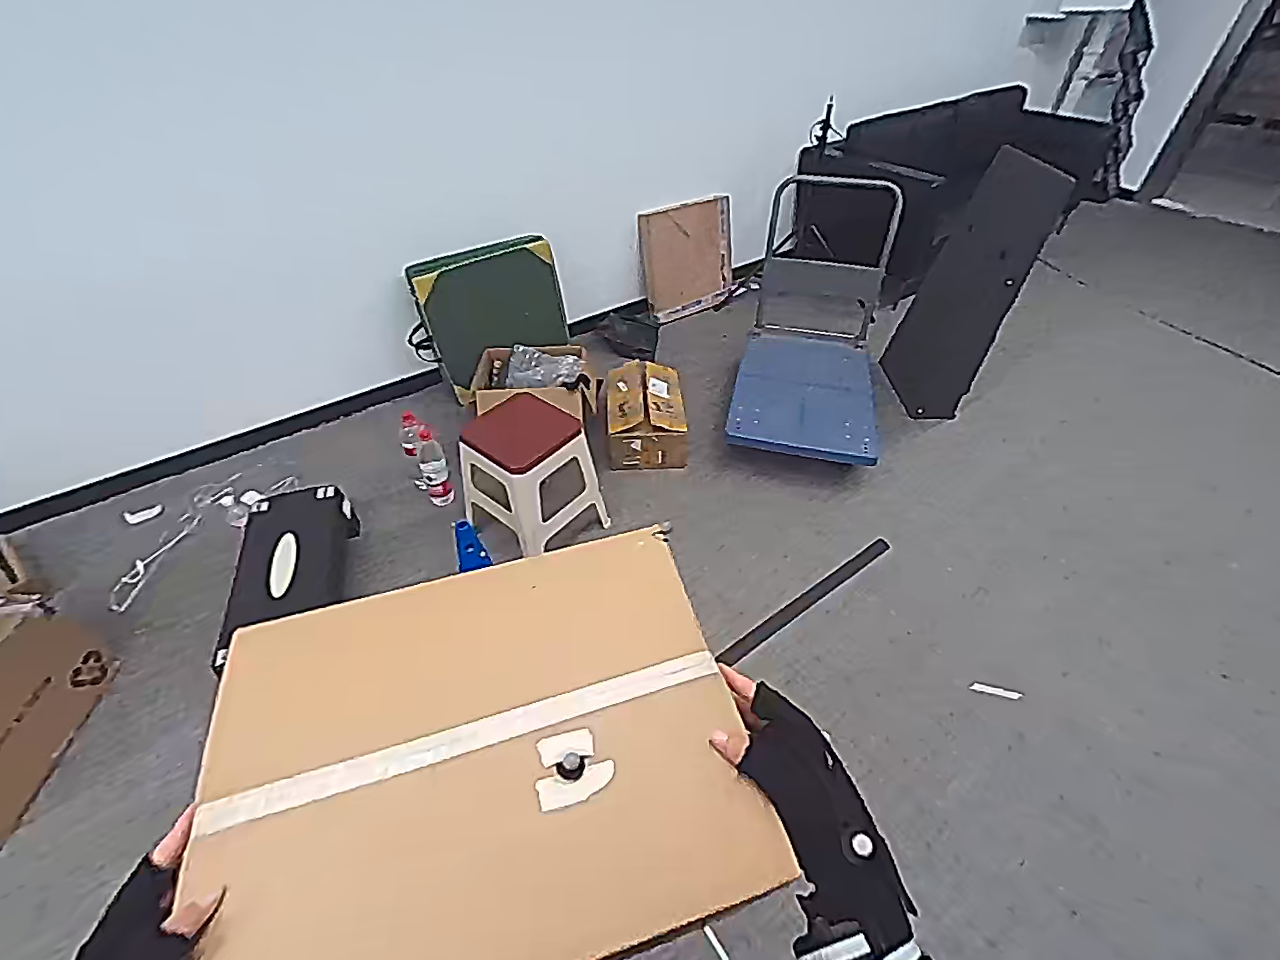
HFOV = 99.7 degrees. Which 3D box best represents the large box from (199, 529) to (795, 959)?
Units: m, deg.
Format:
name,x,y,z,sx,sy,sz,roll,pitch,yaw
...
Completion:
name,x,y,z,sx,sy,sz,roll,pitch,yaw
large box,-0.120,0.301,0.553,0.408,0.320,0.320,-12,50,-11
